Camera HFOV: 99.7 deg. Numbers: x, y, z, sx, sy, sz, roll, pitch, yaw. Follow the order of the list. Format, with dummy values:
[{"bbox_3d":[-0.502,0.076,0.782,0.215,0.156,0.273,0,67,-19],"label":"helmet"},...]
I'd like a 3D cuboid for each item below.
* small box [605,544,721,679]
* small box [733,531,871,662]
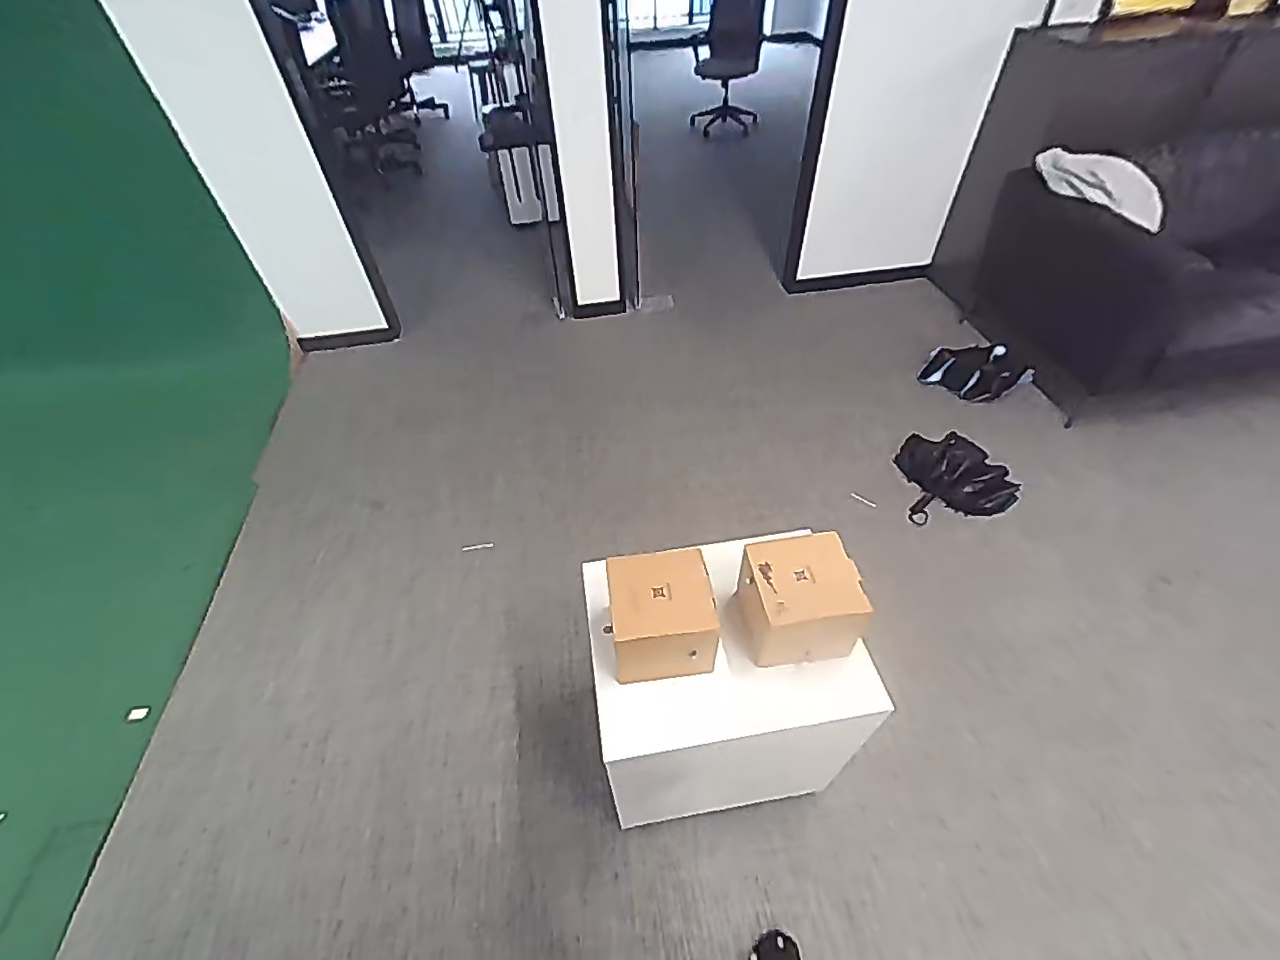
[{"bbox_3d":[0.034,0.236,0.967,0.179,0.176,0.168,-6,47,-5],"label":"small box"},{"bbox_3d":[0.282,0.214,0.983,0.179,0.176,0.168,-6,48,-5],"label":"small box"}]
